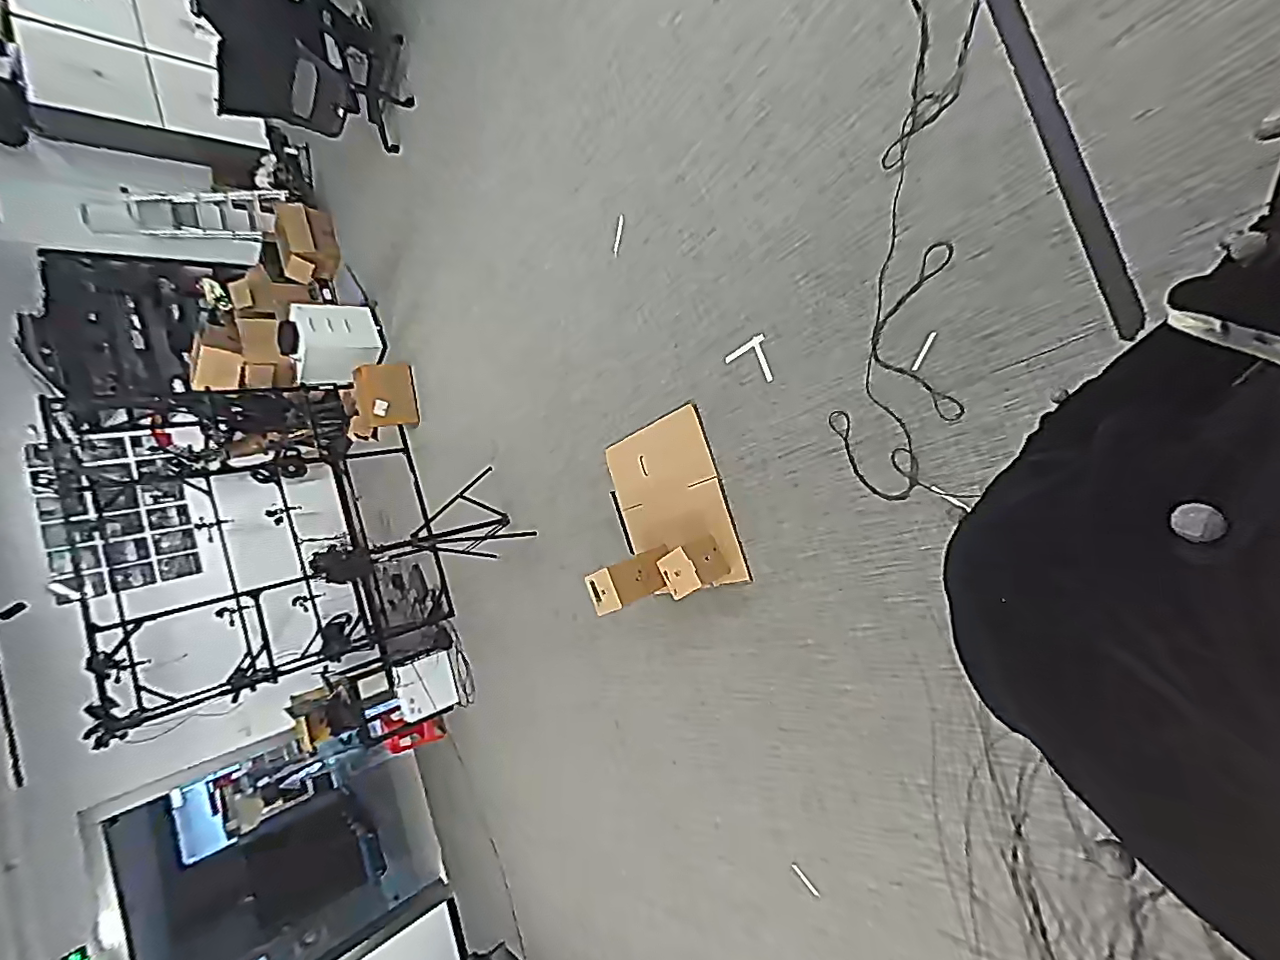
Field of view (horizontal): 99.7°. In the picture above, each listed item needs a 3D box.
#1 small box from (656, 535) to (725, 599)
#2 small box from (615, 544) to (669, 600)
[{"bbox_3d":[0.200,0.328,2.051,0.179,0.176,0.168,-42,69,45],"label":"small box"},{"bbox_3d":[0.028,0.386,2.266,0.179,0.176,0.168,-37,73,47],"label":"small box"}]
